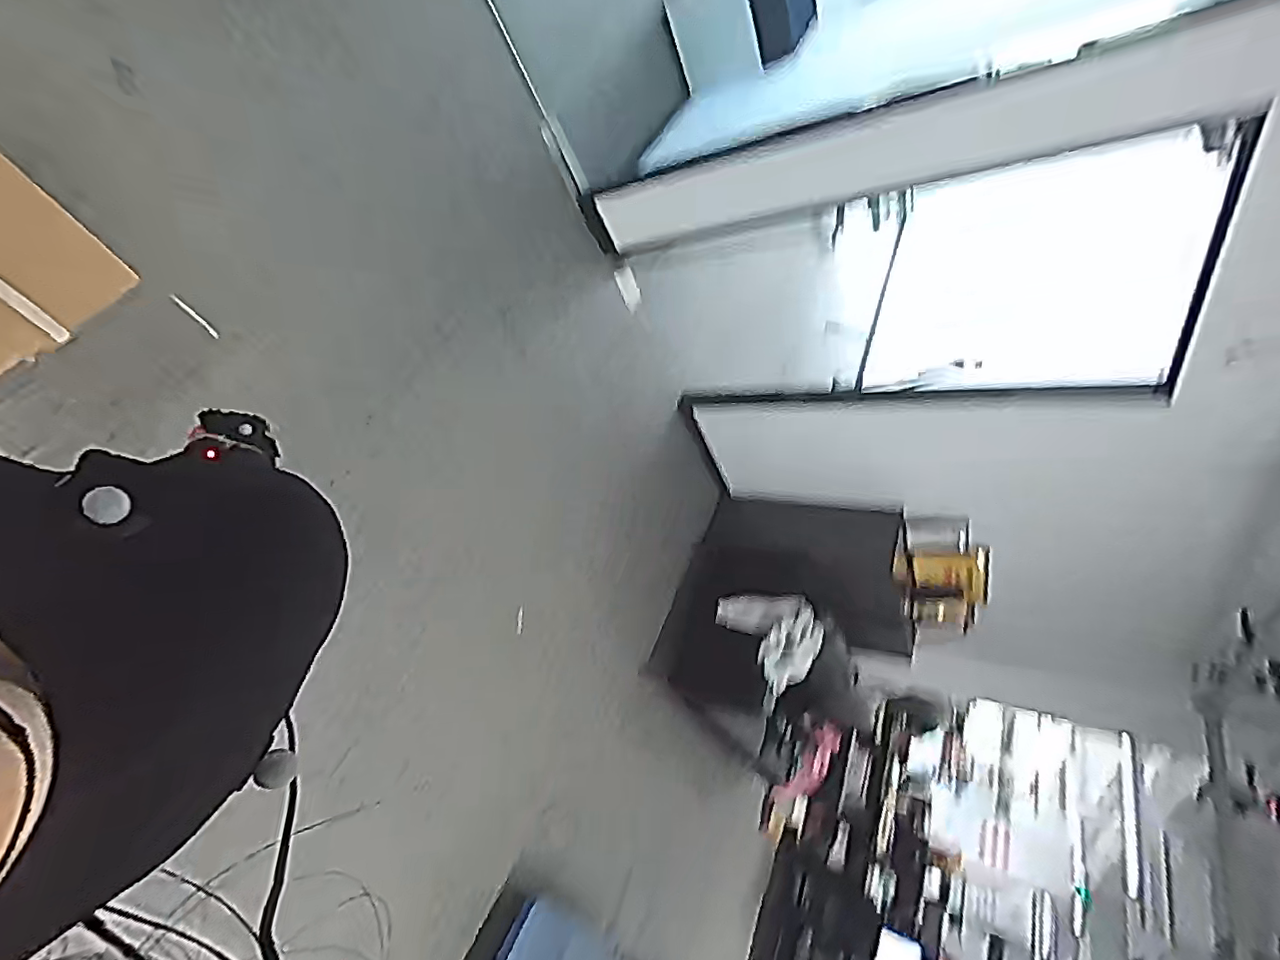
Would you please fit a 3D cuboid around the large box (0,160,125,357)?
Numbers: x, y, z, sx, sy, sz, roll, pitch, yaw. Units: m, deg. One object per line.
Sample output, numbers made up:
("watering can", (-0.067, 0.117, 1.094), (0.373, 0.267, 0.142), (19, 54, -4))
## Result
("large box", (-1.140, -0.377, 0.806), (0.320, 0.320, 0.408), (-62, 140, -32))
